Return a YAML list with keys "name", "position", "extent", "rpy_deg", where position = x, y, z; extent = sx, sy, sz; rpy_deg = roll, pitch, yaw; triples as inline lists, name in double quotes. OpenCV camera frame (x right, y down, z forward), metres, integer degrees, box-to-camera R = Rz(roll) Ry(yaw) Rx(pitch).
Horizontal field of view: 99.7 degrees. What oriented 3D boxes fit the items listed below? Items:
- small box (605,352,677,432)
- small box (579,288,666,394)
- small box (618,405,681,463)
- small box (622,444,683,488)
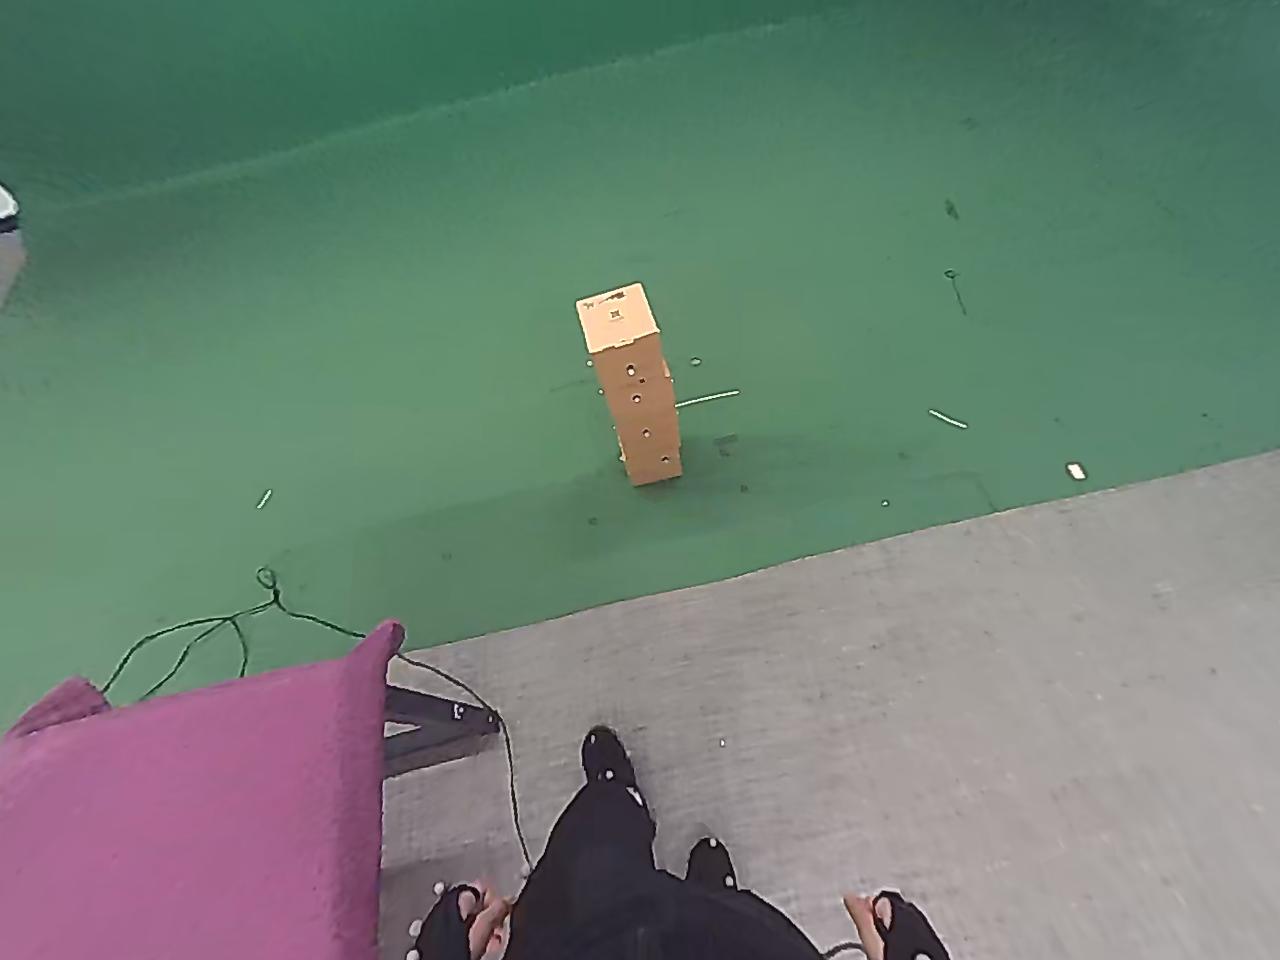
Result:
- name: "small box"
  position: [-0.007, -0.256, 1.477]
  extent: [0.179, 0.176, 0.168]
  rpy_deg: [-17, 60, -1]
- name: "small box"
  position: [-0.038, -0.333, 1.336]
  extent: [0.168, 0.176, 0.179]
  rpy_deg: [-16, 61, 1]
- name: "small box"
  position: [0.021, -0.176, 1.617]
  extent: [0.179, 0.176, 0.168]
  rpy_deg: [-16, 60, 1]
- name: "small box"
  position: [0.039, -0.094, 1.756]
  extent: [0.179, 0.176, 0.168]
  rpy_deg: [-14, 60, 2]
